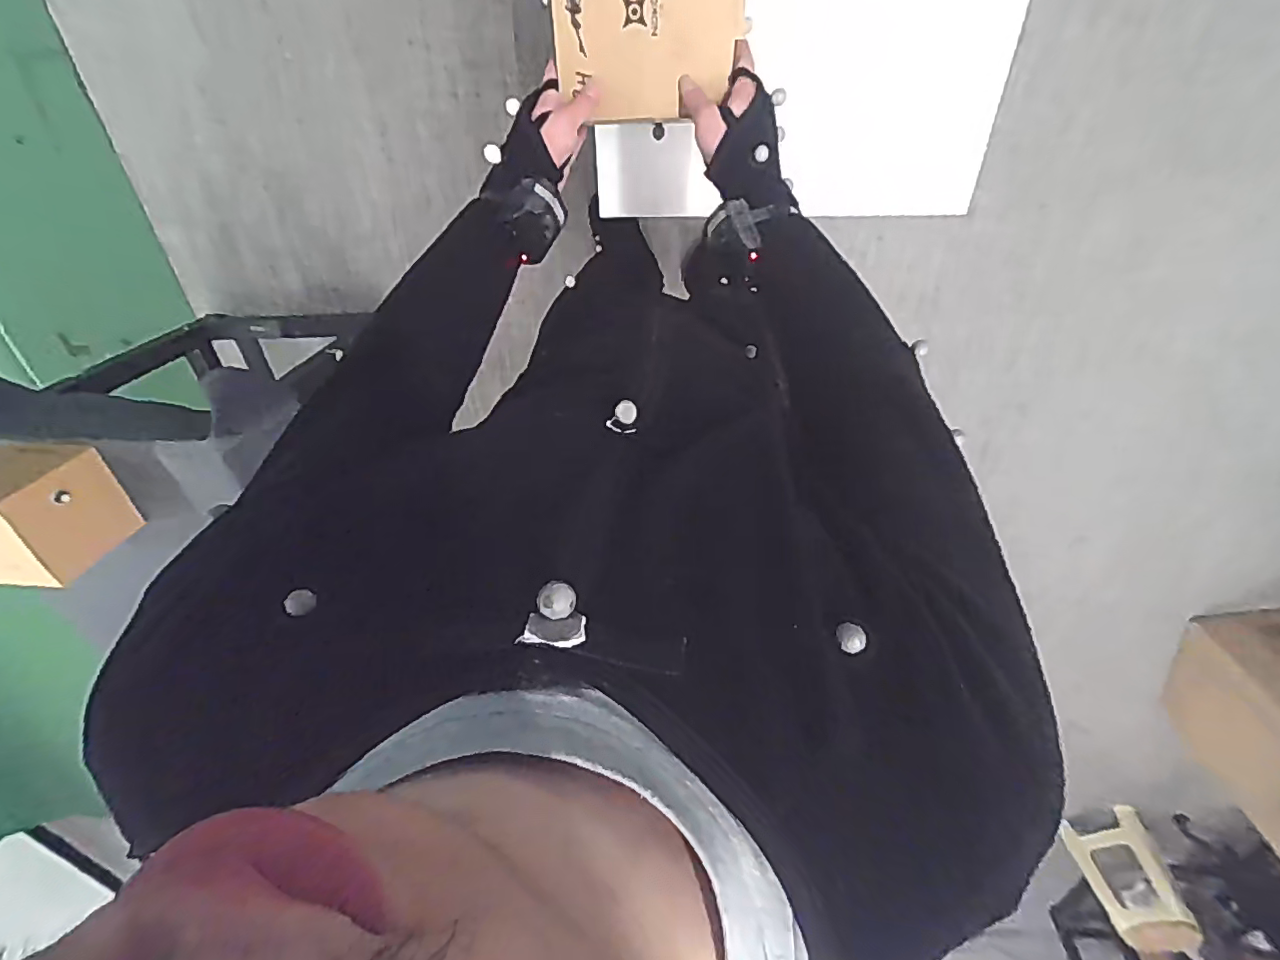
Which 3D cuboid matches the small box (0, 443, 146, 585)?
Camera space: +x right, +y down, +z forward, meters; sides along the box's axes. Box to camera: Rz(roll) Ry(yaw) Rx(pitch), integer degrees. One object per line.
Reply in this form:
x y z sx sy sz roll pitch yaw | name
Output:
-1.010 0.052 0.908 0.168 0.176 0.179 3 127 5 | small box

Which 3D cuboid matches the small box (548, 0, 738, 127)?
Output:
0.011 -0.468 0.562 0.179 0.176 0.168 3 122 7 | small box
